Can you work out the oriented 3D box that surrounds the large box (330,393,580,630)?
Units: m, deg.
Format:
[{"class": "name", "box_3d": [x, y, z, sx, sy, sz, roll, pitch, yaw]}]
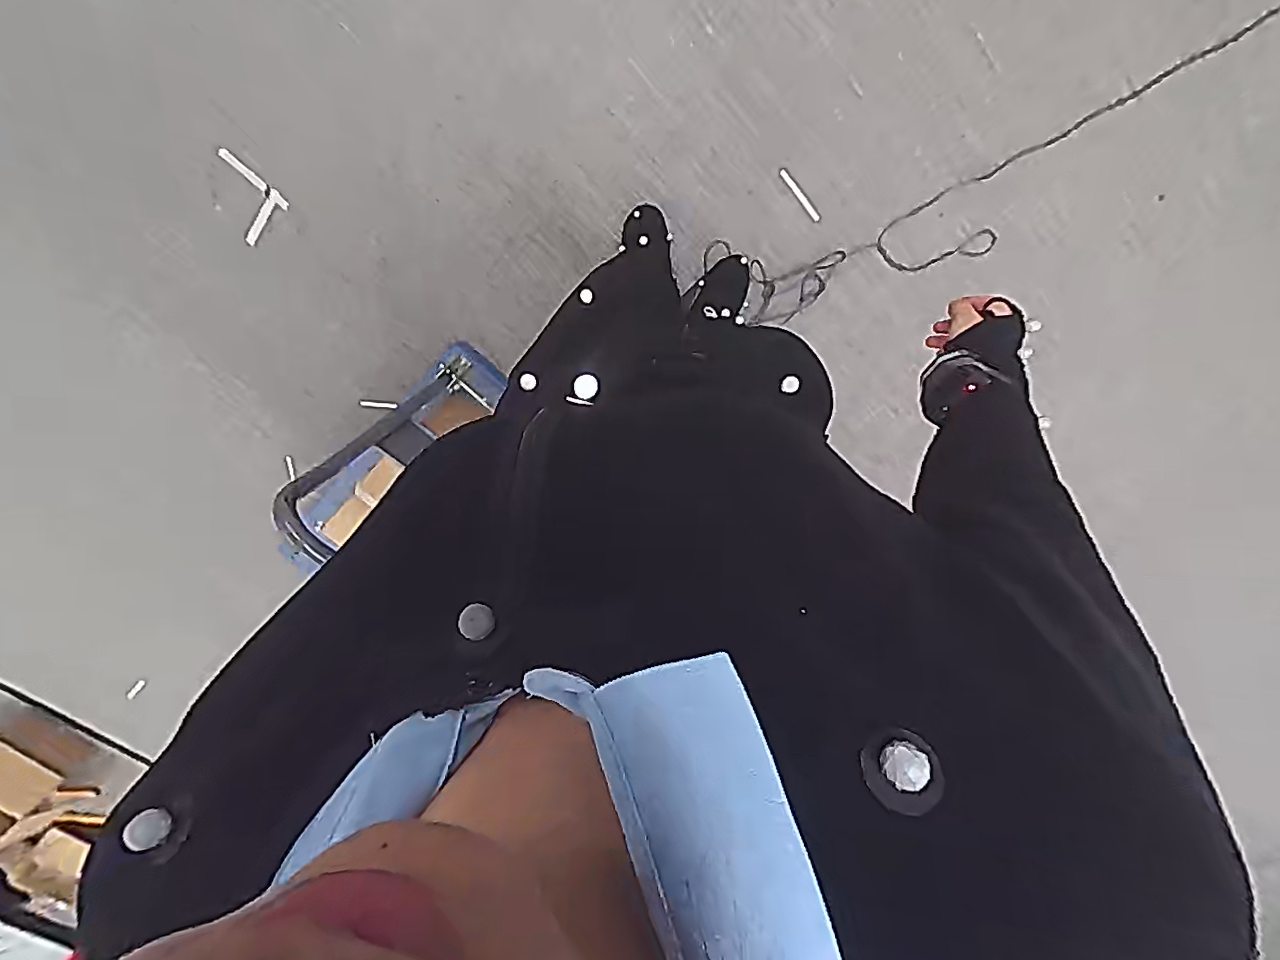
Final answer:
[{"class": "large box", "box_3d": [-0.408, 0.069, 1.288, 0.320, 0.320, 0.408, -41, 107, 20]}]
